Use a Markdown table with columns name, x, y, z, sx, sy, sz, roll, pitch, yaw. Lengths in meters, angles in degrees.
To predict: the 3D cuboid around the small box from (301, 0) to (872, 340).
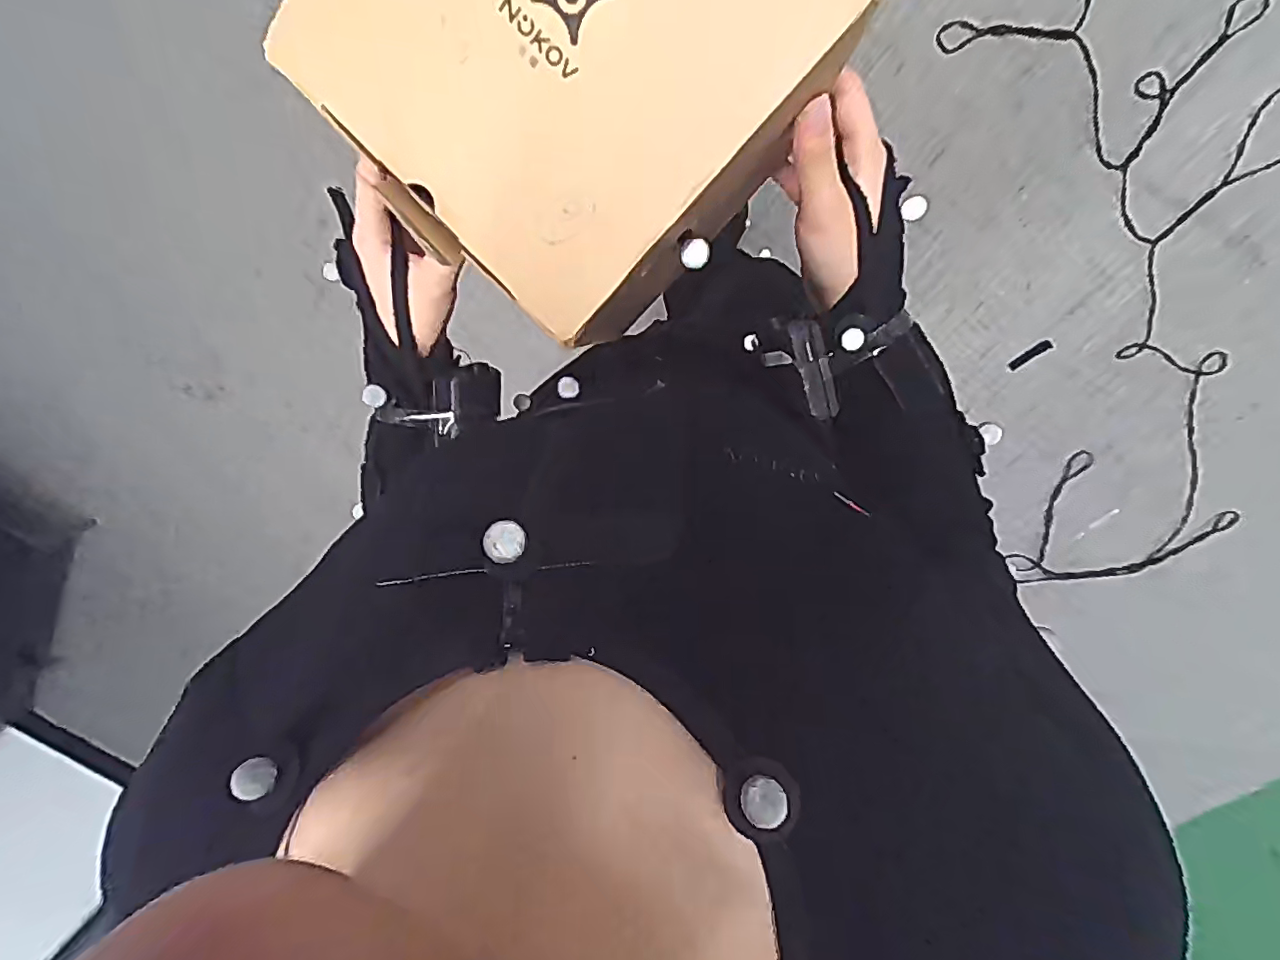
| name | x | y | z | sx | sy | sz | roll | pitch | yaw |
| --- | --- | --- | --- | --- | --- | --- | --- | --- | --- |
| small box | -0.019 | -0.196 | 0.289 | 0.168 | 0.176 | 0.179 | 44 | 106 | -7 |
